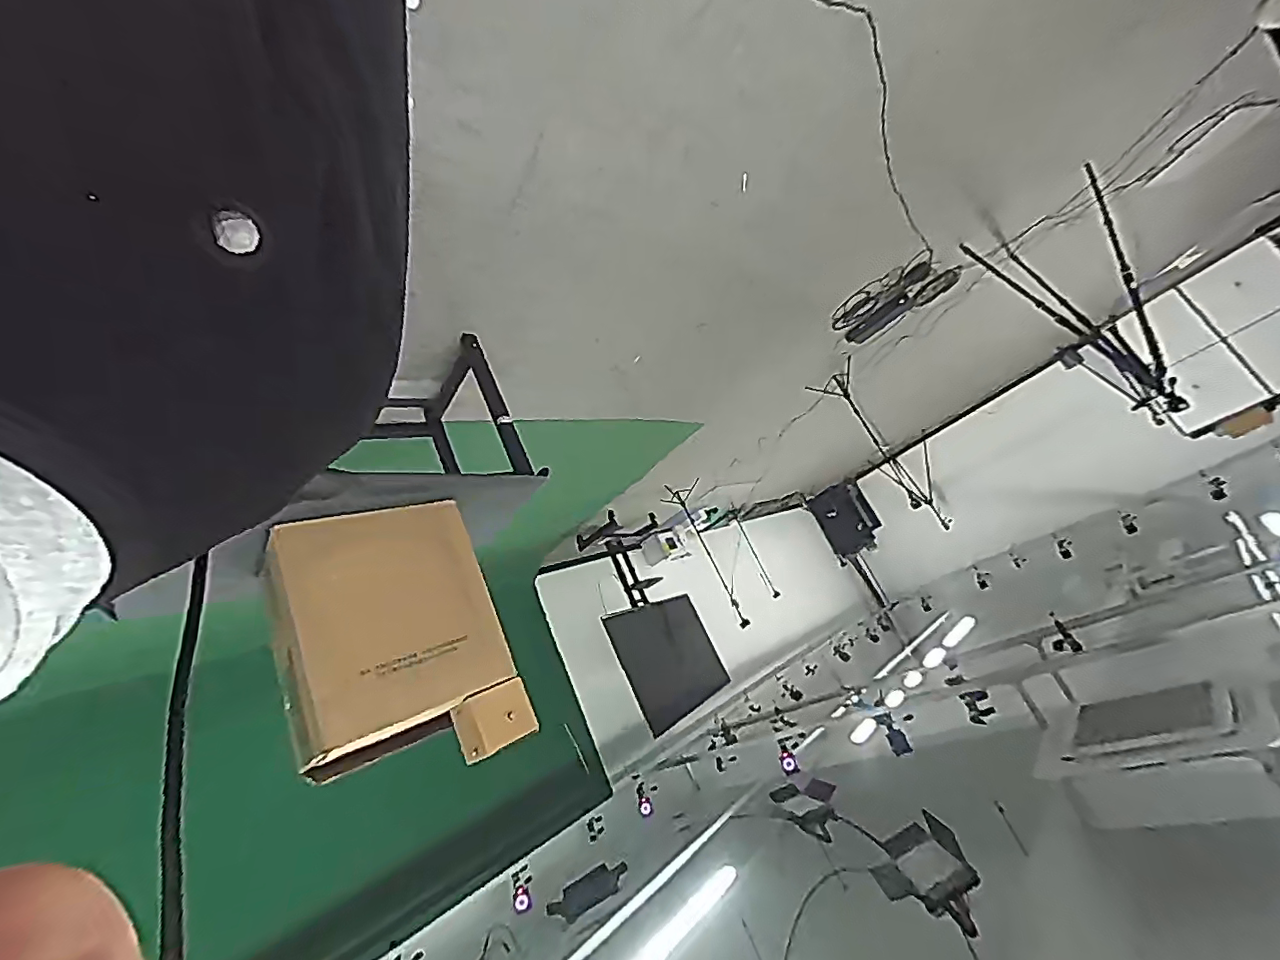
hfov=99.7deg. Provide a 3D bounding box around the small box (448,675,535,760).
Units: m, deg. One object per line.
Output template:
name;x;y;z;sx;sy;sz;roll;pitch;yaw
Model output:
small box;-0.457;0.720;1.652;0.179;0.176;0.168;-12;157;-45
